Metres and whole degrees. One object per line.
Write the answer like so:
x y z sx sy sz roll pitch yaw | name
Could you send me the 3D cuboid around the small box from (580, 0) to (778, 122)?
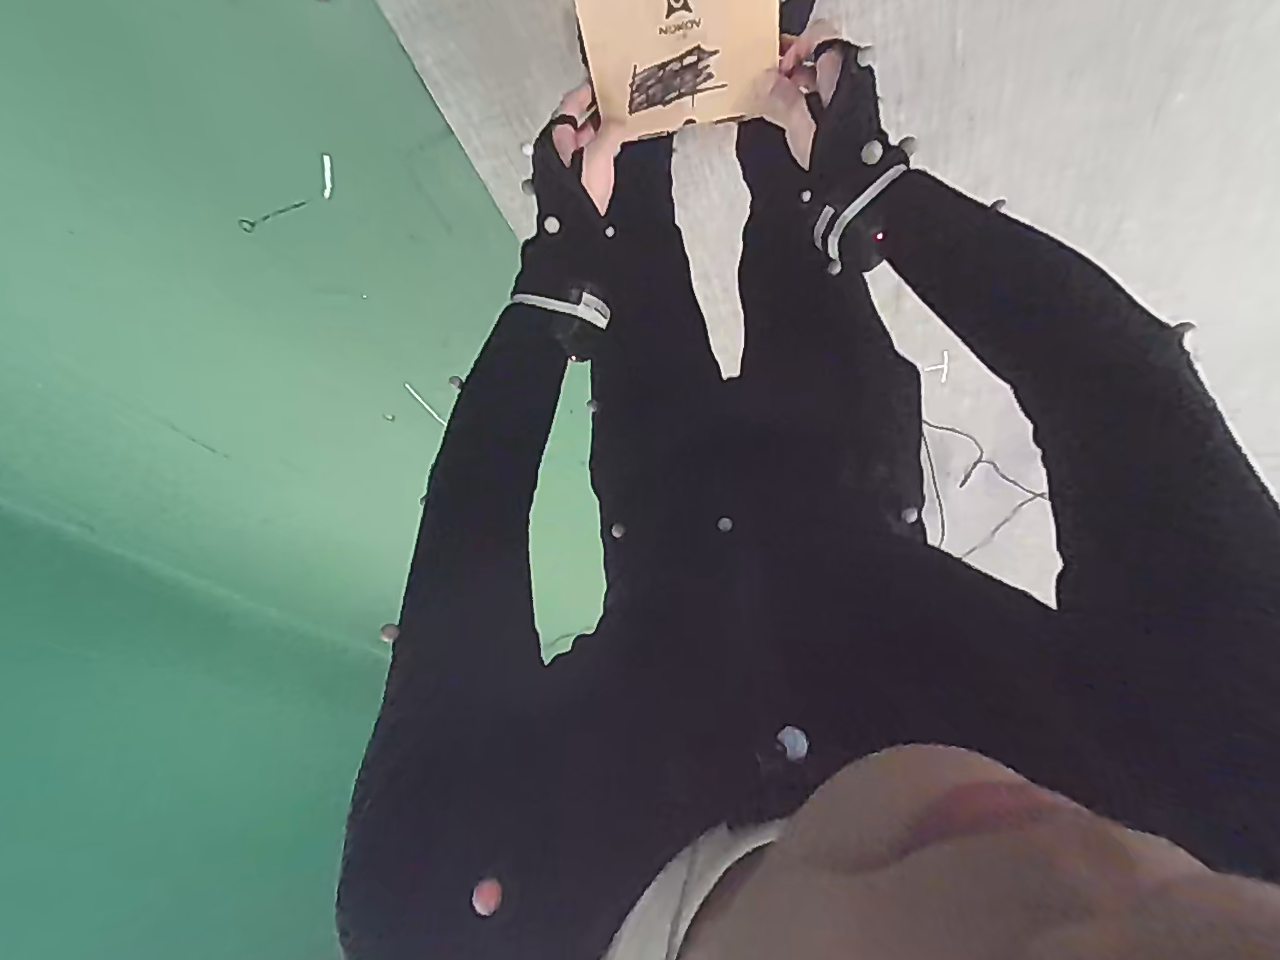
0.037 -0.464 0.488 0.168 0.176 0.179 -3 141 11 | small box
